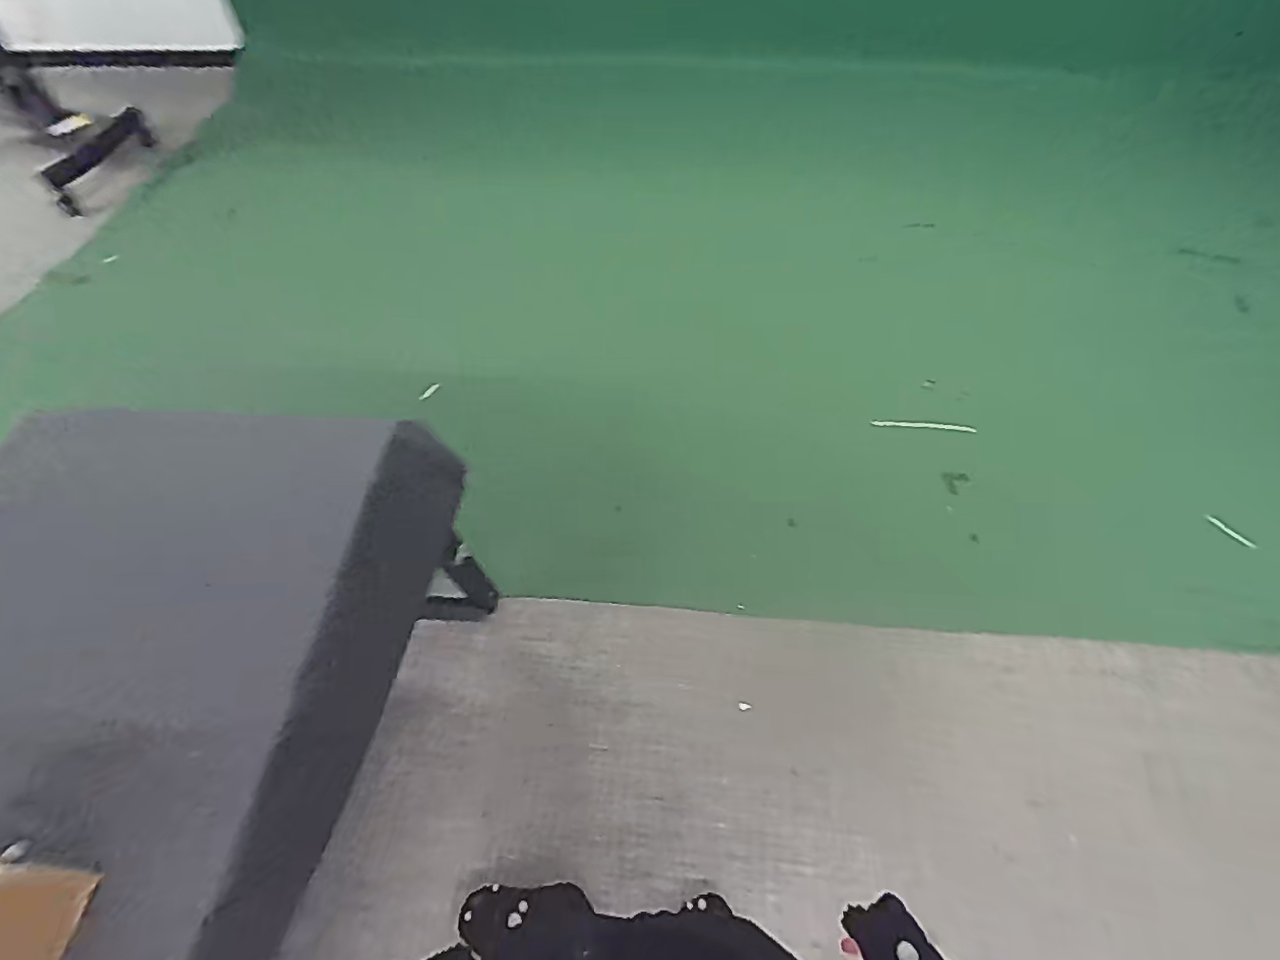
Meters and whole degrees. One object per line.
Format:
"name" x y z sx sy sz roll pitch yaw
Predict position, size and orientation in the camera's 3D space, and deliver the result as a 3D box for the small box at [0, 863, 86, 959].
"small box" -0.636 0.428 0.440 0.168 0.176 0.179 4 57 2
